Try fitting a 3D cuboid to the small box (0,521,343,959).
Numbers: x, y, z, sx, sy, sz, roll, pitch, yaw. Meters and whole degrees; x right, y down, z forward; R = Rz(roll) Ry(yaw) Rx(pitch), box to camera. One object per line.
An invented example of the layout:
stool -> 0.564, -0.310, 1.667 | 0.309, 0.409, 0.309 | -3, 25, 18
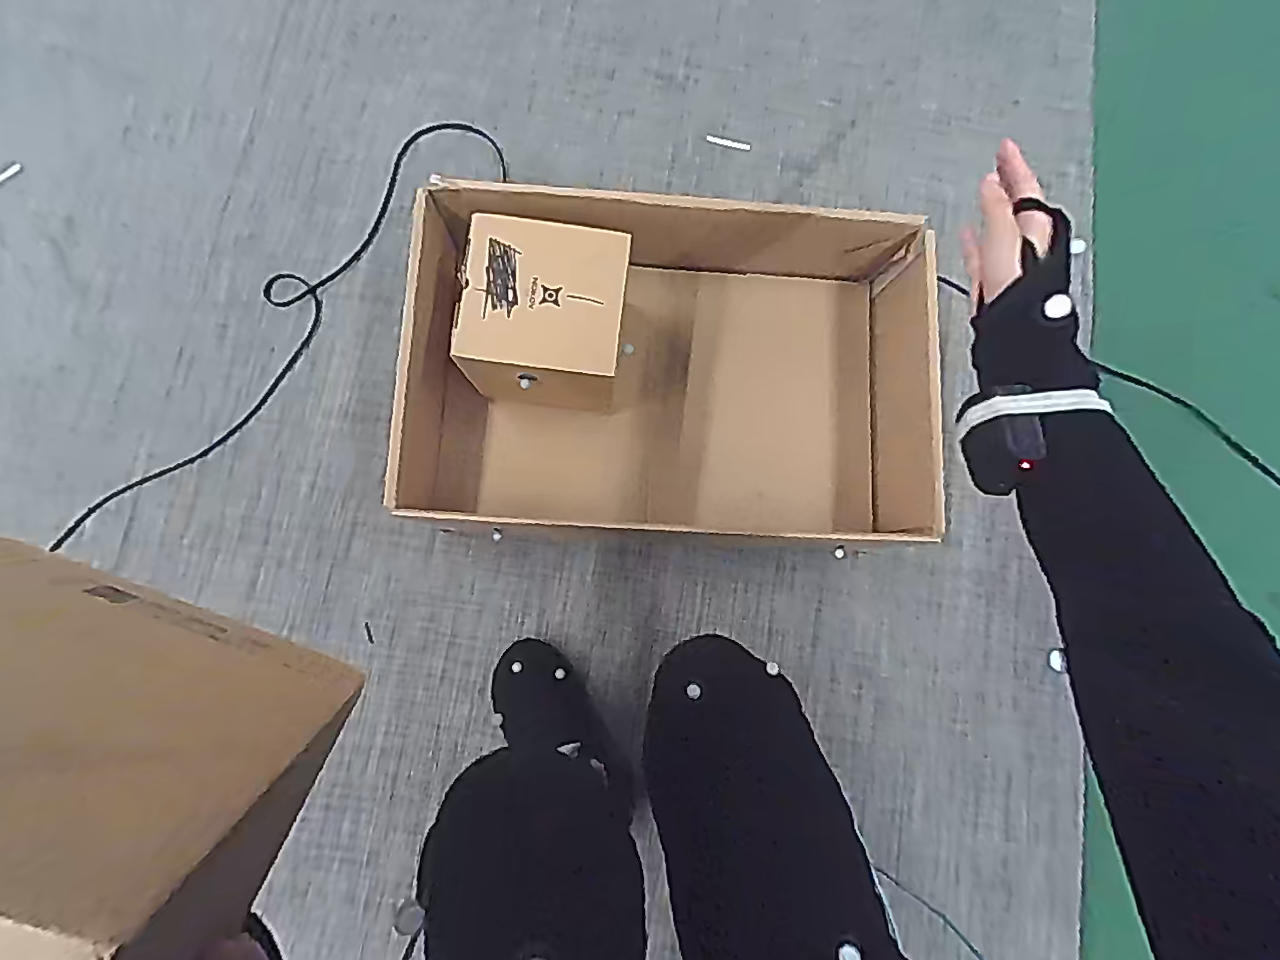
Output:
small box -> -0.217, 0.122, 0.148 | 0.168, 0.176, 0.179 | 27, 81, -10
